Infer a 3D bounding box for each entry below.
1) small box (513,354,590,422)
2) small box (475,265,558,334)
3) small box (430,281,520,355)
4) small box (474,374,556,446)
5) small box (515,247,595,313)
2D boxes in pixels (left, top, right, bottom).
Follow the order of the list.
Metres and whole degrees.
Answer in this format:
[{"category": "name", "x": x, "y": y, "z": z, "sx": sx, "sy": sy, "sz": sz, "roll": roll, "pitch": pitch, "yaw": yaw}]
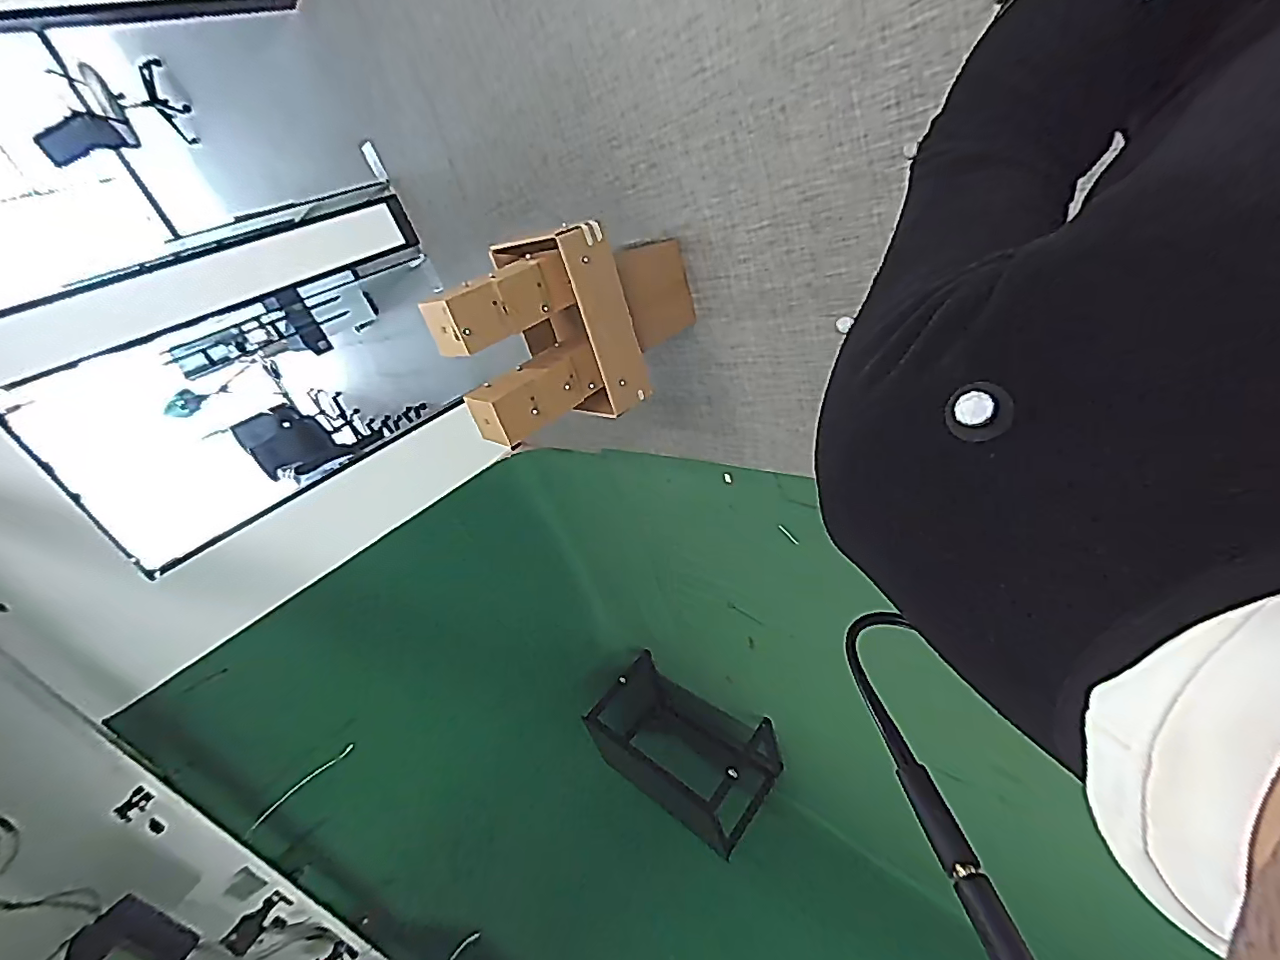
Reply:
[{"category": "small box", "x": -0.302, "y": -0.324, "z": 1.872, "sx": 0.179, "sy": 0.176, "sz": 0.168, "roll": 17, "pitch": 136, "yaw": 42}, {"category": "small box", "x": -0.383, "y": -0.575, "z": 1.718, "sx": 0.179, "sy": 0.176, "sz": 0.168, "roll": 17, "pitch": 134, "yaw": 42}, {"category": "small box", "x": -0.495, "y": -0.489, "z": 1.636, "sx": 0.179, "sy": 0.176, "sz": 0.168, "roll": 14, "pitch": 132, "yaw": 45}, {"category": "small box", "x": -0.409, "y": -0.237, "z": 1.786, "sx": 0.179, "sy": 0.176, "sz": 0.168, "roll": 17, "pitch": 136, "yaw": 43}, {"category": "small box", "x": -0.279, "y": -0.667, "z": 1.808, "sx": 0.179, "sy": 0.176, "sz": 0.168, "roll": 14, "pitch": 133, "yaw": 43}]
